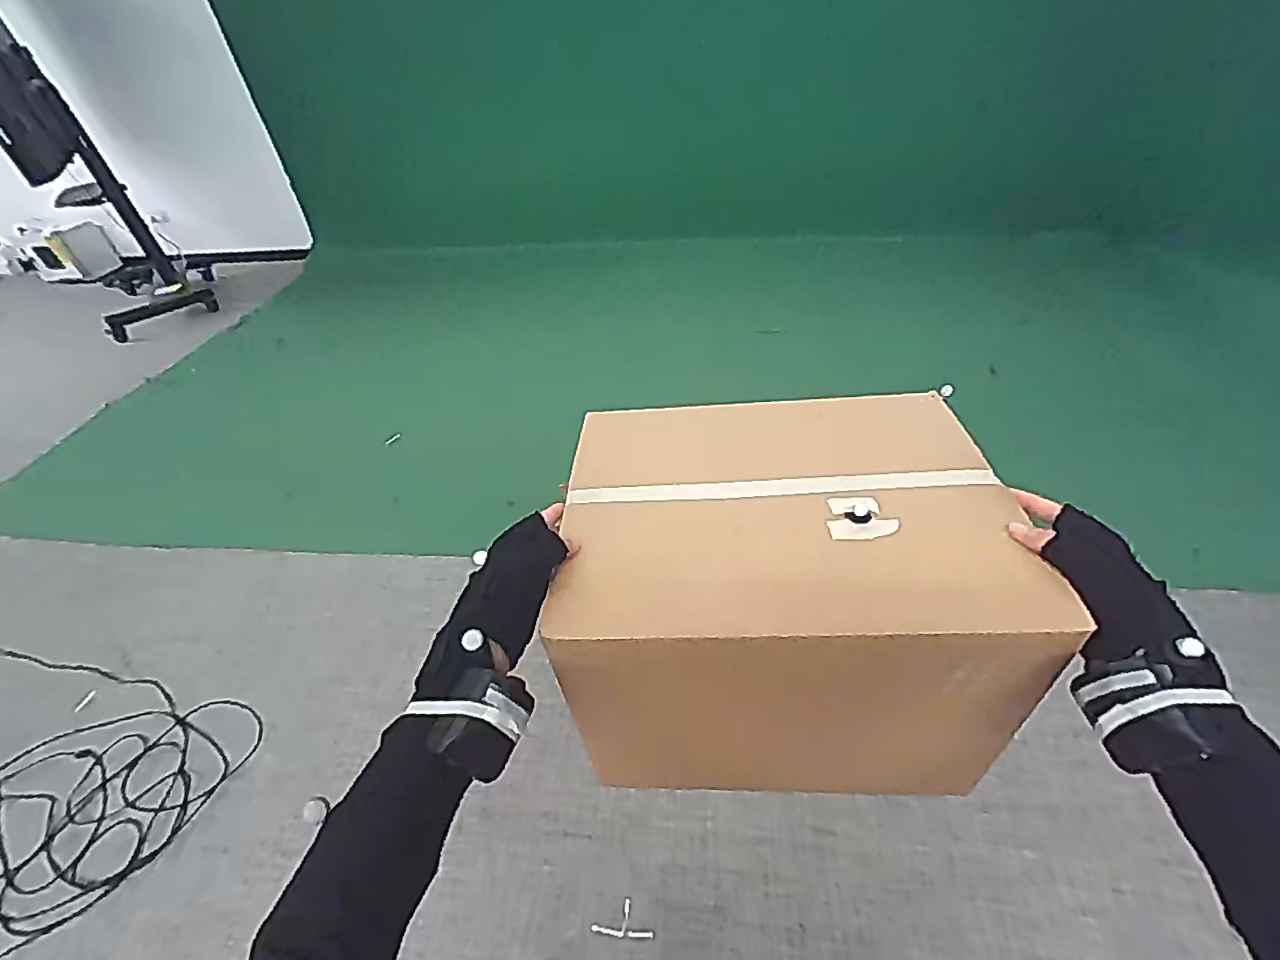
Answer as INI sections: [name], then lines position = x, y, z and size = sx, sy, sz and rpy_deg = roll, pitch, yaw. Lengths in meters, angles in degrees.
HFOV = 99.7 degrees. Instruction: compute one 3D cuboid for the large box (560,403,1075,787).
[large box]
position = 0.147, 0.132, 0.625
size = 0.408, 0.320, 0.320
rpy_deg = -2, 41, 5
